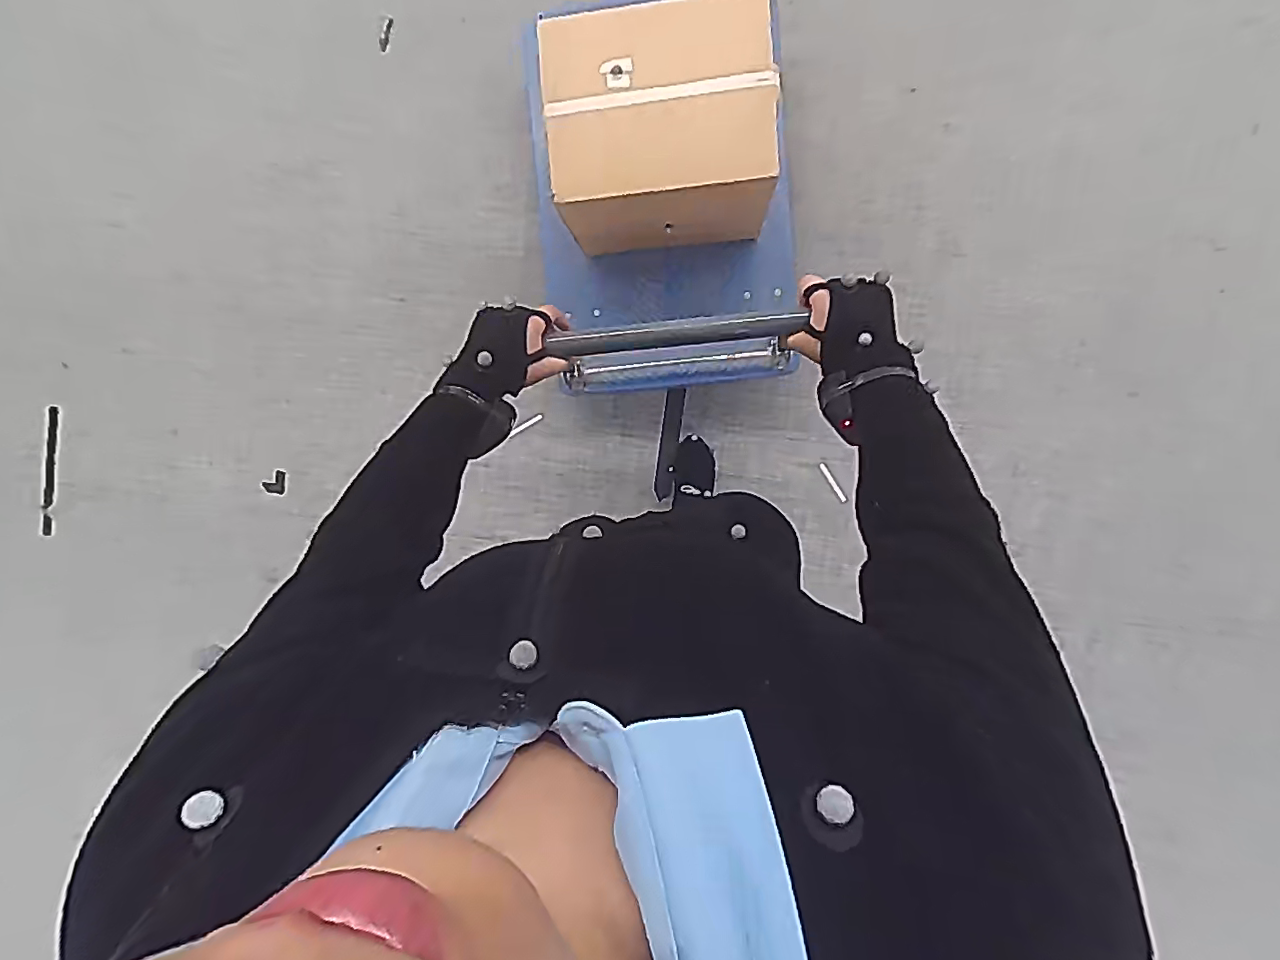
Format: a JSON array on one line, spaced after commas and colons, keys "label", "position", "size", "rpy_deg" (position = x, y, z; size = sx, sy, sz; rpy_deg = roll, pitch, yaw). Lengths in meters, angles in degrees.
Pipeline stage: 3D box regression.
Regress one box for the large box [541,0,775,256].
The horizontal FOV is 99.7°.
[{"label": "large box", "position": [0.047, -0.685, 1.115], "size": [0.408, 0.320, 0.320], "rpy_deg": [-4, 94, 7]}]
